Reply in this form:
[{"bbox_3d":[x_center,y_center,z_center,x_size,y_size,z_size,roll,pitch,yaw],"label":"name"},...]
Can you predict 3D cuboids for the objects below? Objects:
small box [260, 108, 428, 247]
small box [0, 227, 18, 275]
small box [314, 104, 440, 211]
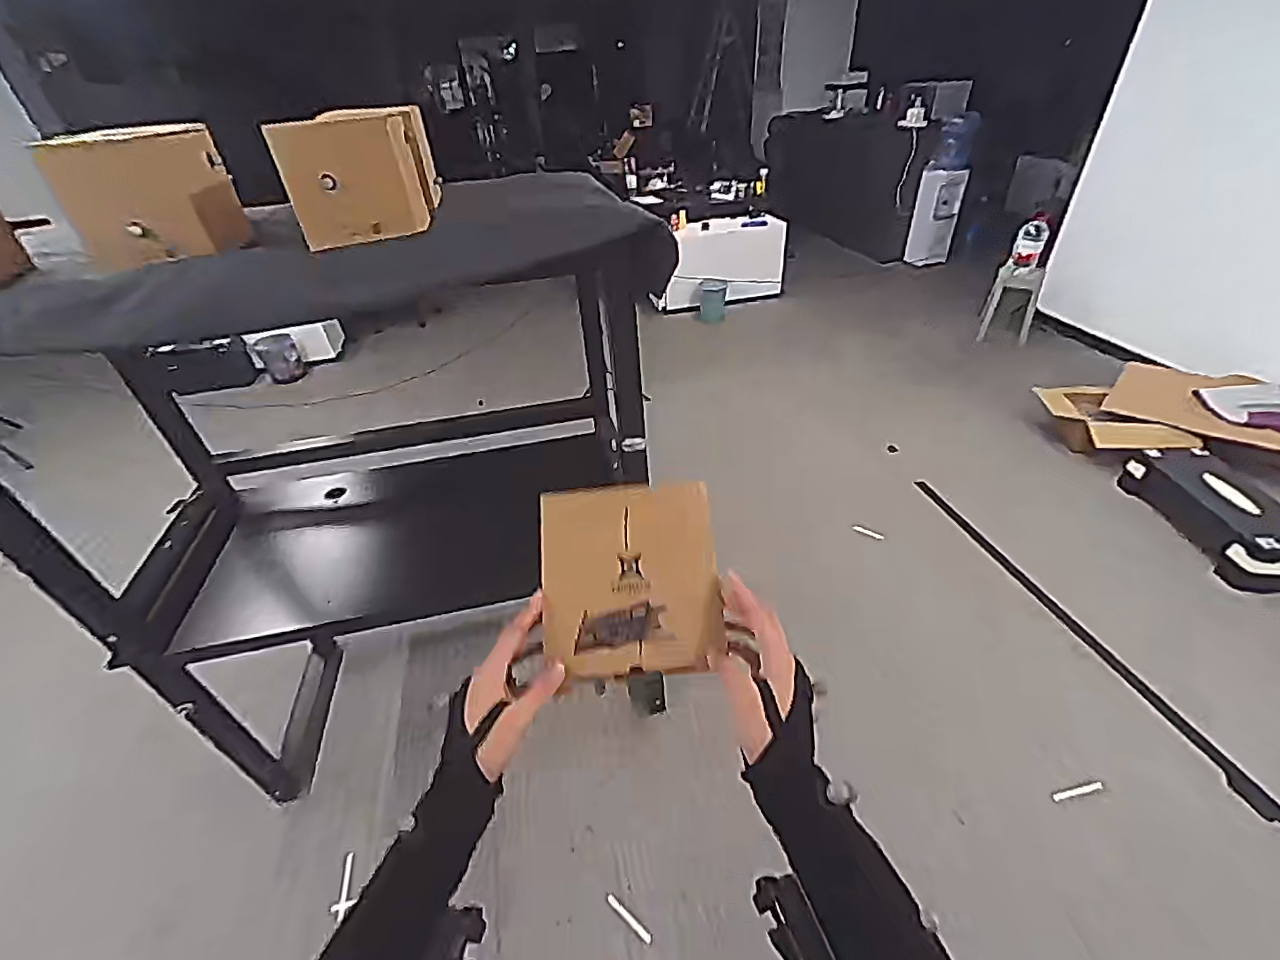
[{"bbox_3d":[-0.442,-0.470,0.843,0.168,0.176,0.179,-11,35,-9],"label":"small box"},{"bbox_3d":[-1.033,-0.346,0.734,0.168,0.176,0.179,-12,37,-10],"label":"small box"},{"bbox_3d":[-0.501,-0.630,1.062,0.168,0.176,0.179,-11,37,-8],"label":"small box"}]
